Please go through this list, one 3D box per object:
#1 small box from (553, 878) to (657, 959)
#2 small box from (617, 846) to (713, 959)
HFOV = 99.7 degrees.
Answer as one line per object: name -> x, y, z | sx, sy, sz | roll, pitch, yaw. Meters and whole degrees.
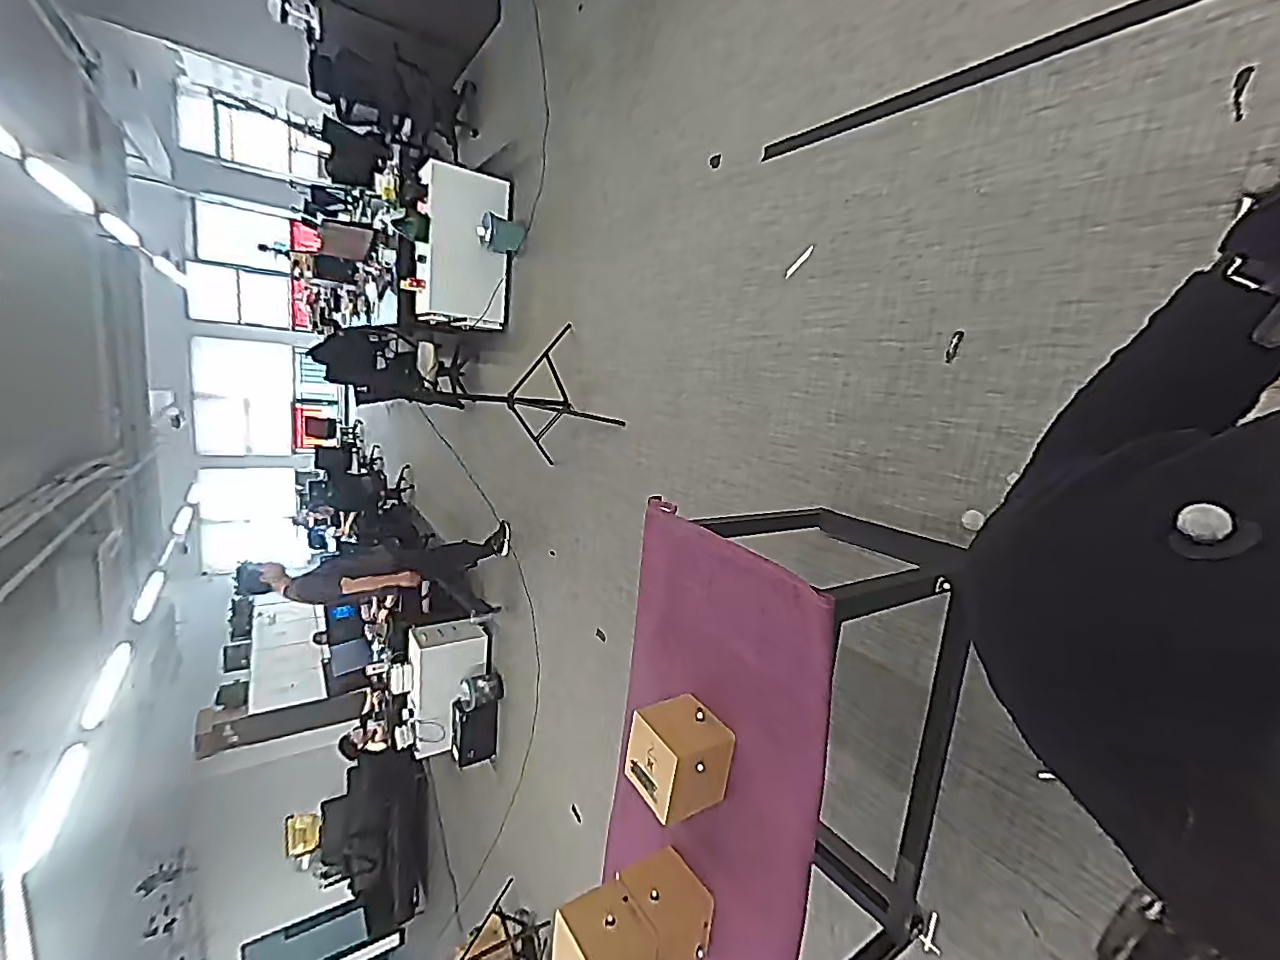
small box -> -0.077, 1.042, 1.199 | 0.168, 0.176, 0.179 | 20, 107, 54
small box -> 0.054, 1.034, 1.300 | 0.179, 0.176, 0.168 | 21, 108, 54
